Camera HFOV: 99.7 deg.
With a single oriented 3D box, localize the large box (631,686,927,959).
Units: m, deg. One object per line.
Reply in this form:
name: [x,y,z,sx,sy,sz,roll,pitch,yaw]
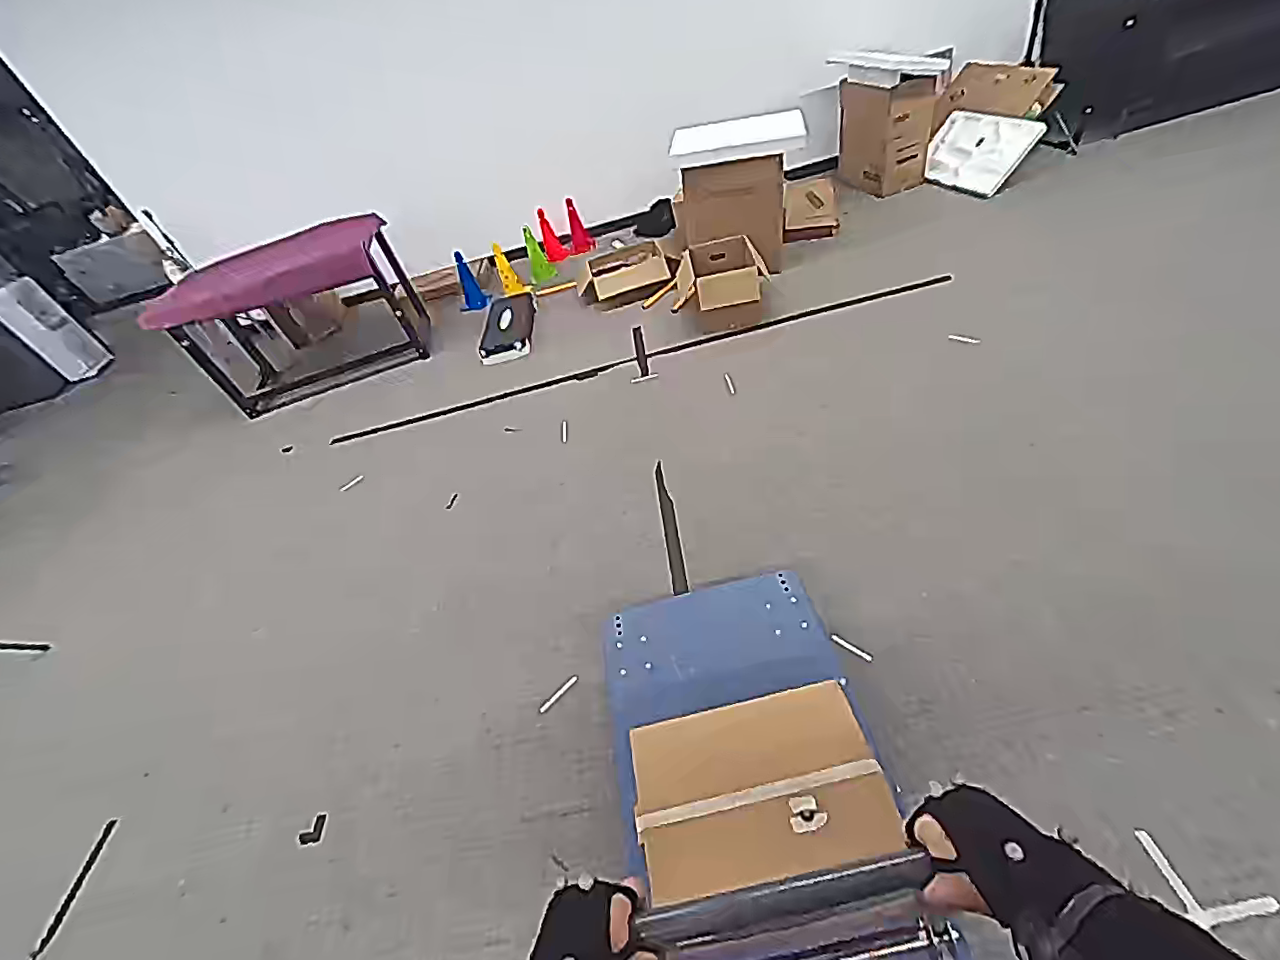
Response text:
large box: [0.226,0.633,0.978,0.408,0.320,0.320,-15,43,2]
